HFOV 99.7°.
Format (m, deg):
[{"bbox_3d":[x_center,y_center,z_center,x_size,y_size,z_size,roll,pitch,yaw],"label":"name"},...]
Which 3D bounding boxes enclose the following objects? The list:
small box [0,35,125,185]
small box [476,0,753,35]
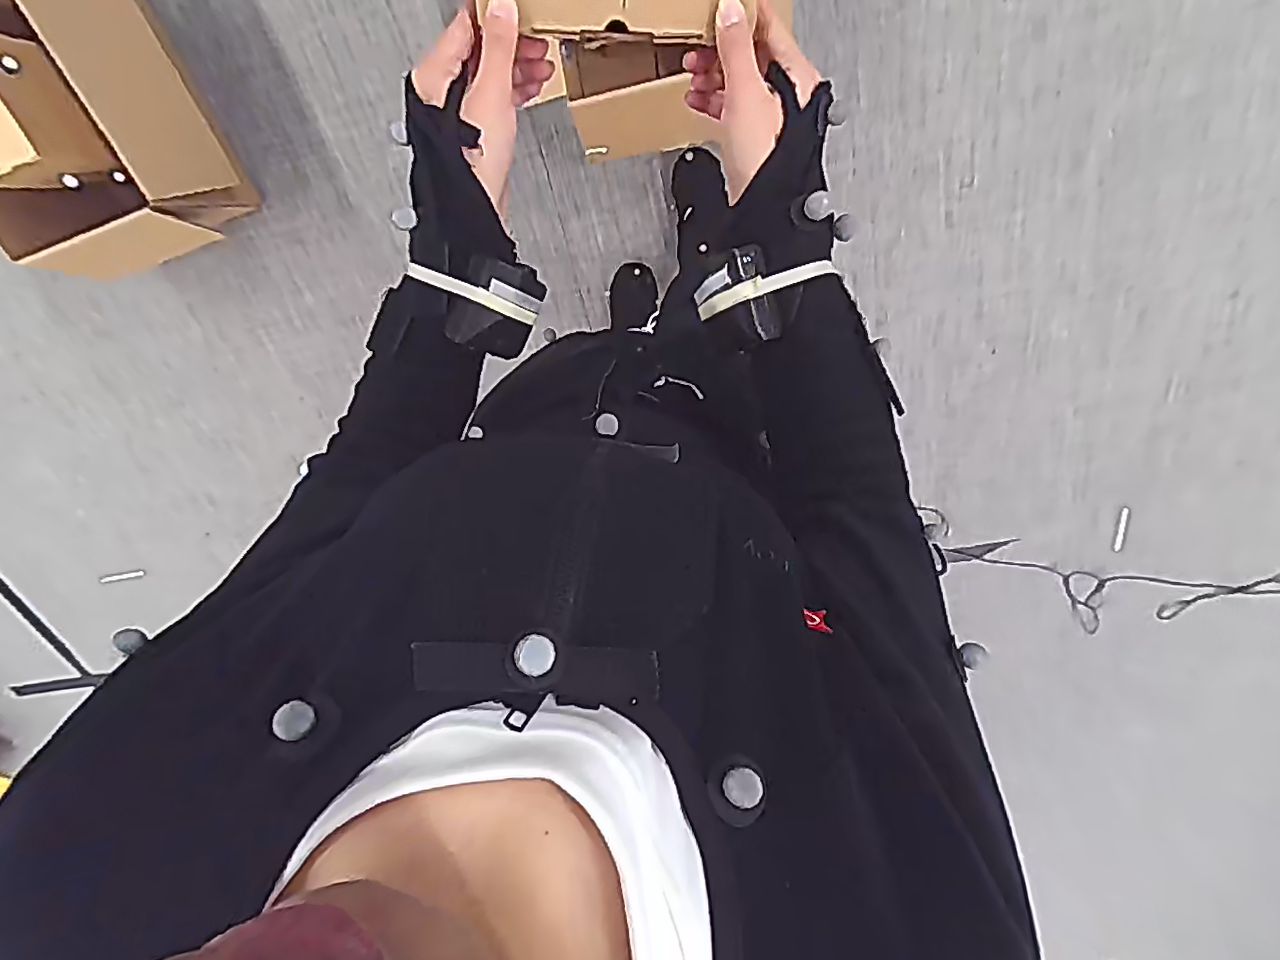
[{"bbox_3d":[-1.034,-0.603,0.889,0.168,0.176,0.179,-12,116,9],"label":"small box"},{"bbox_3d":[-0.008,-0.386,0.327,0.168,0.176,0.179,3,128,1],"label":"small box"}]
